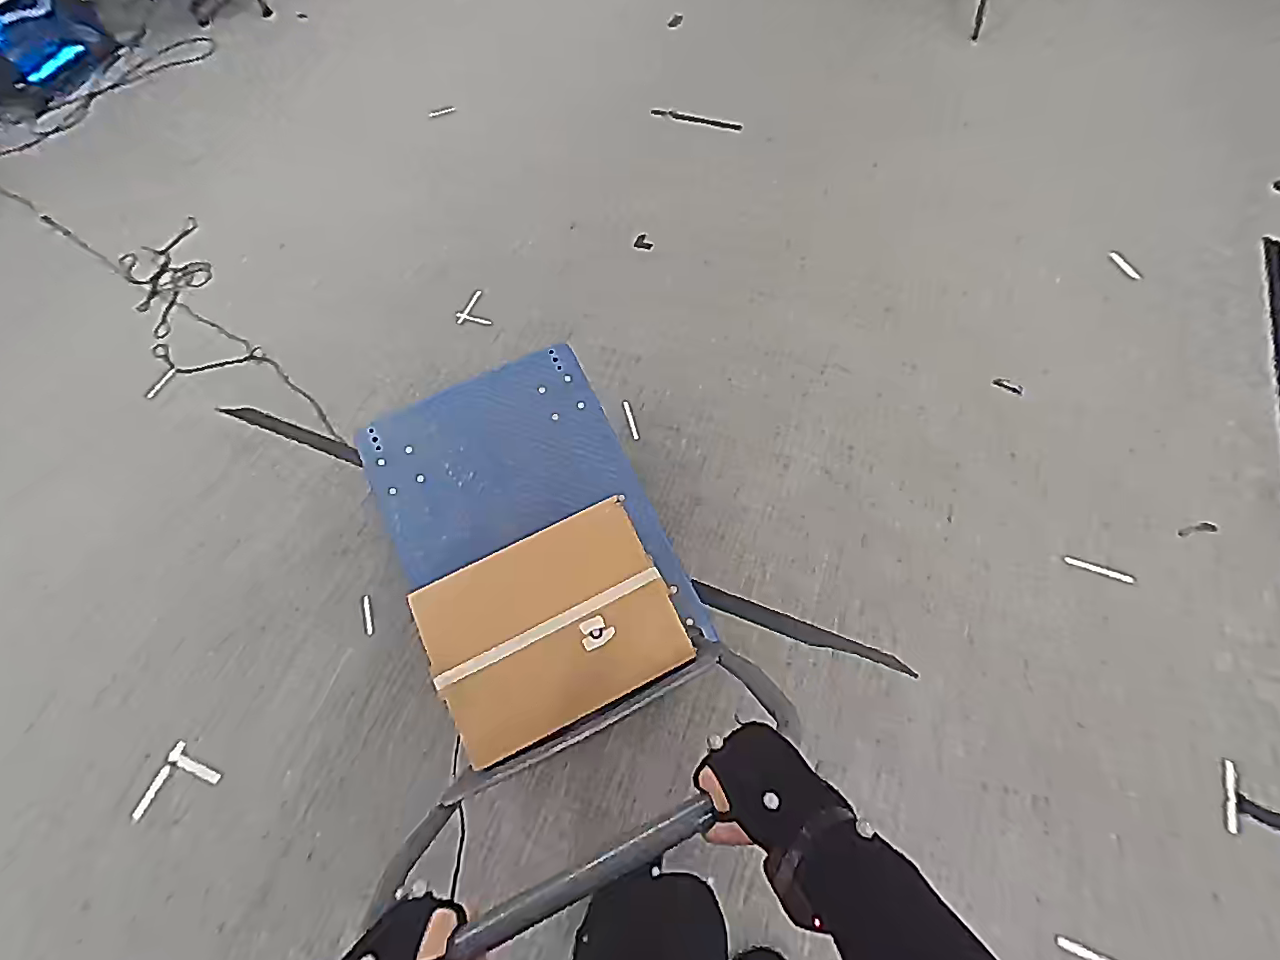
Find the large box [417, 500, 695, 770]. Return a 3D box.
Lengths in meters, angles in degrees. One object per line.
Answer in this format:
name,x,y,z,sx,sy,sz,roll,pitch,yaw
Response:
large box,-0.151,0.295,1.078,0.408,0.320,0.320,-27,78,-8
